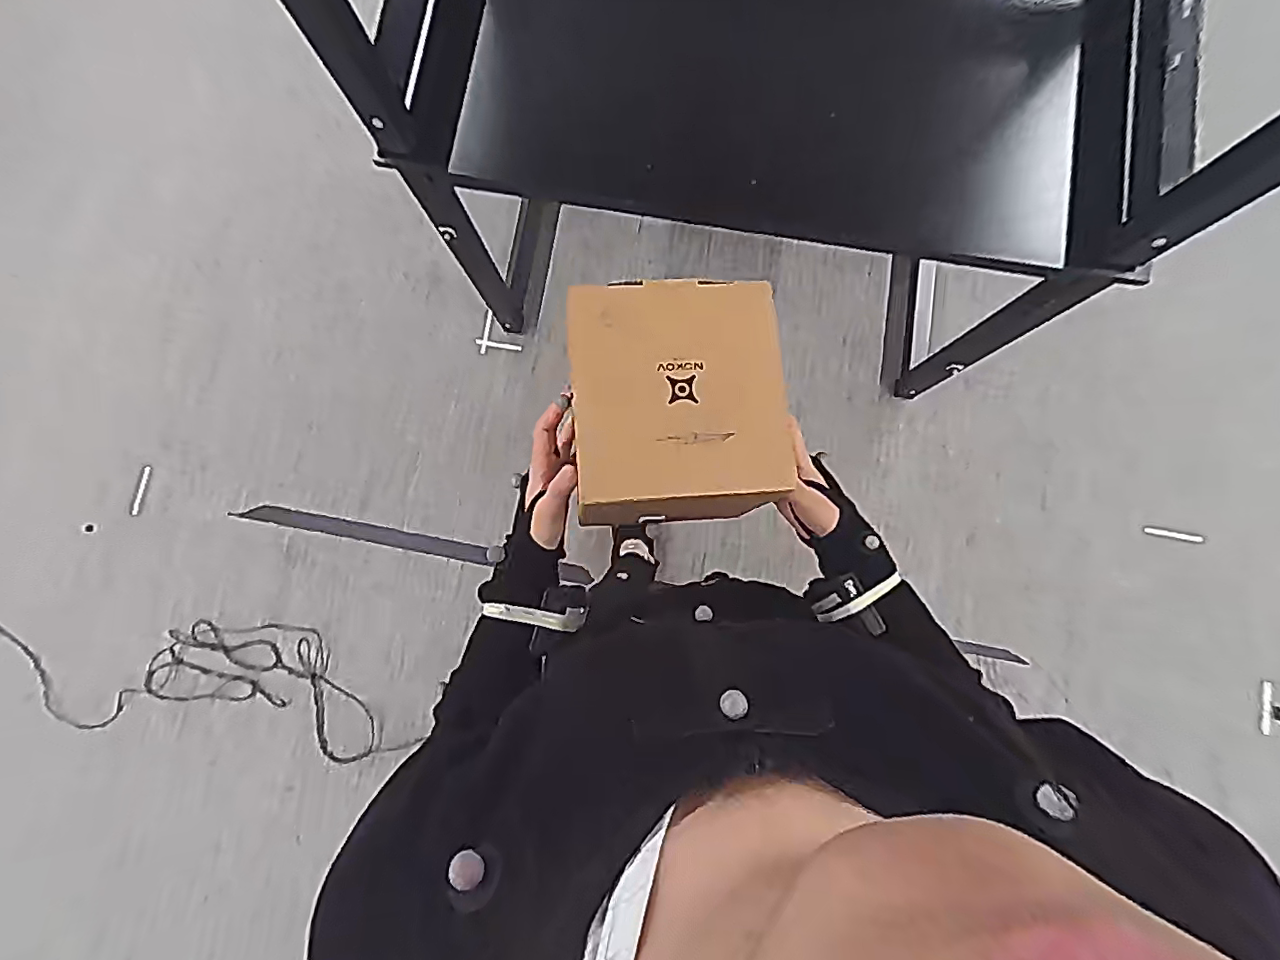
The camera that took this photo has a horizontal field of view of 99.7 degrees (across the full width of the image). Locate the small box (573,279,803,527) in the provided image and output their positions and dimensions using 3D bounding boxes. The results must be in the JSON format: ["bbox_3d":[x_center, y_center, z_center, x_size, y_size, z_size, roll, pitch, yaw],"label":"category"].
[{"bbox_3d":[0.026,-0.057,0.487,0.168,0.176,0.179,-4,80,-7],"label":"small box"}]
